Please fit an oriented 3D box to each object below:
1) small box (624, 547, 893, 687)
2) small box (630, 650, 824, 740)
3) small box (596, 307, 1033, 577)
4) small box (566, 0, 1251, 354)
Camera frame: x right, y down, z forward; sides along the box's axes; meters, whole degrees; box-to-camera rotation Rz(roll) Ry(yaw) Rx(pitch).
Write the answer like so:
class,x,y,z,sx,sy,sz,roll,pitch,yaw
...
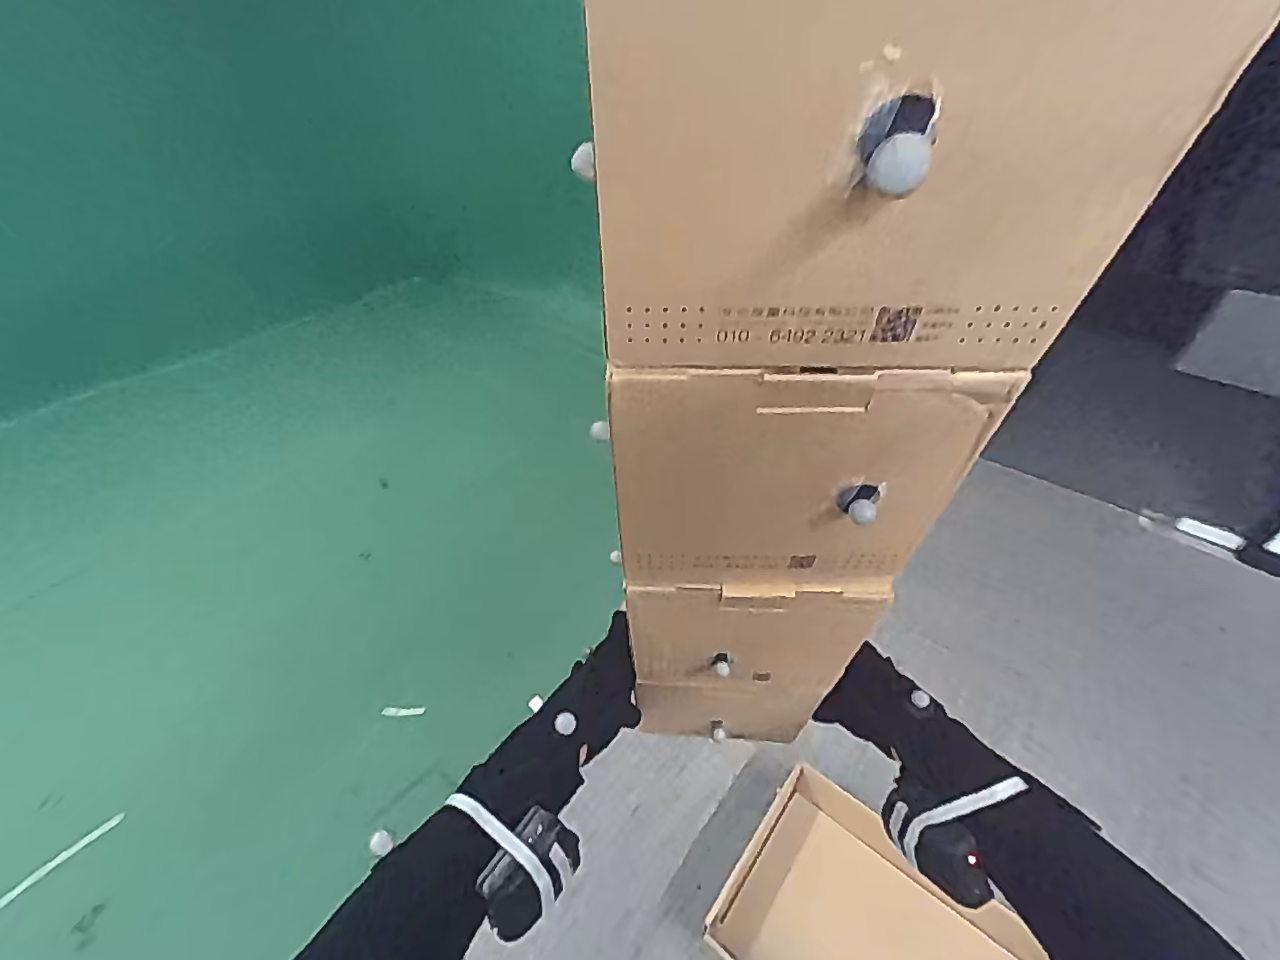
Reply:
class,x,y,z,sx,sy,sz,roll,pitch,yaw
small box,0.075,0.051,0.439,0.168,0.176,0.179,1,52,2
small box,0.080,0.153,0.566,0.168,0.176,0.179,2,52,4
small box,0.068,-0.055,0.315,0.168,0.176,0.179,0,52,1
small box,0.066,-0.160,0.188,0.168,0.176,0.179,0,53,0
